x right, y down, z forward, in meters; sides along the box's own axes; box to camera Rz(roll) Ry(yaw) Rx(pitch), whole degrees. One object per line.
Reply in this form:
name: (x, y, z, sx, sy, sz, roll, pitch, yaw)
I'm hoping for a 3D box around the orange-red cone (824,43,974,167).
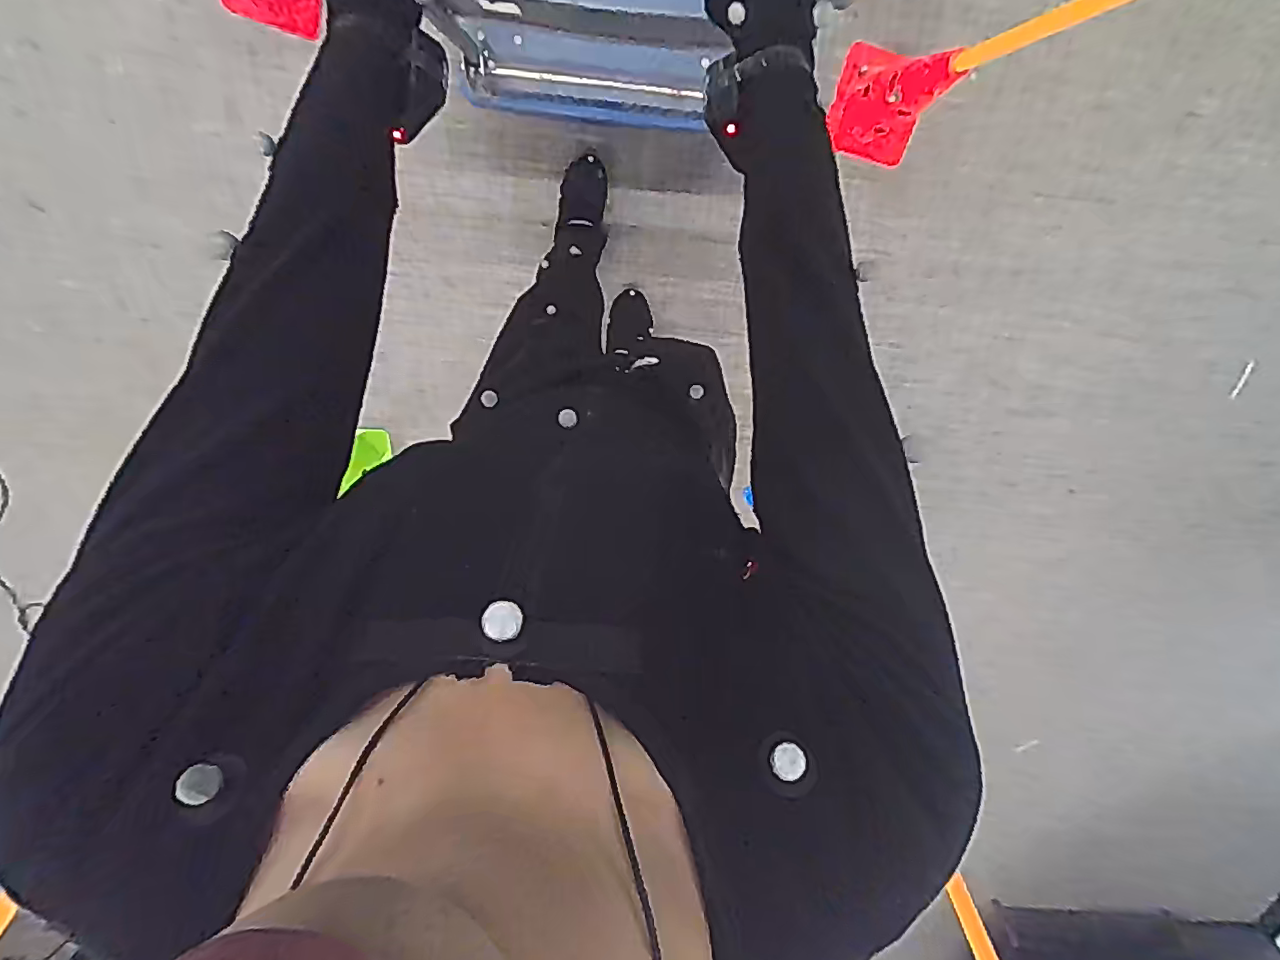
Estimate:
orange-red cone: (0.525, -0.749, 1.034, 0.198, 0.360, 0.199, 14, 114, -6)
